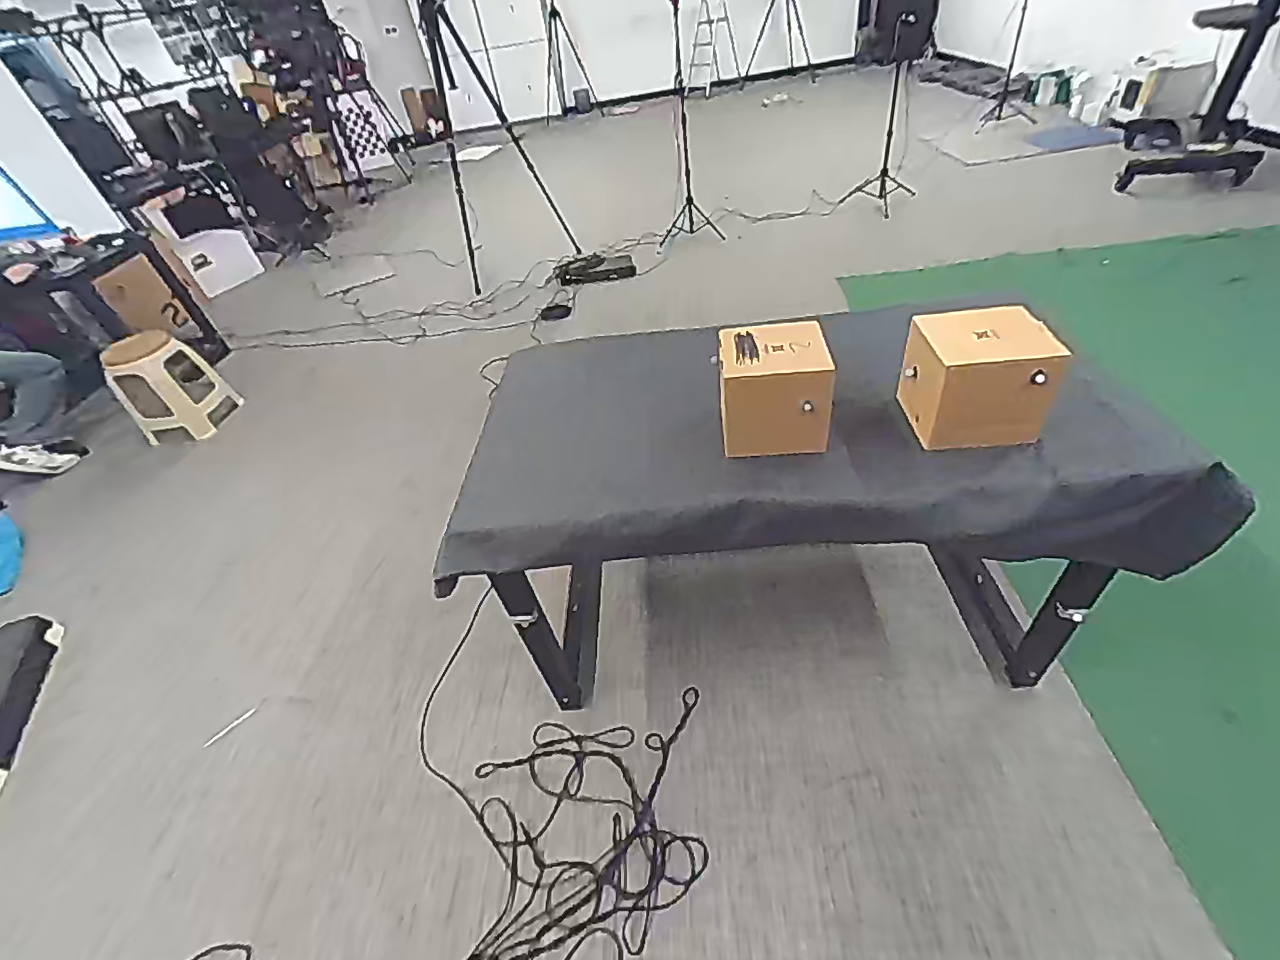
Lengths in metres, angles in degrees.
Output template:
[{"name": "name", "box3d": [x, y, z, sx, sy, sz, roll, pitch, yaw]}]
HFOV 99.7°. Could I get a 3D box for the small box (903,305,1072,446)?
[{"name": "small box", "box3d": [0.553, -0.169, 0.898, 0.179, 0.176, 0.168, -4, 42, 8]}]
